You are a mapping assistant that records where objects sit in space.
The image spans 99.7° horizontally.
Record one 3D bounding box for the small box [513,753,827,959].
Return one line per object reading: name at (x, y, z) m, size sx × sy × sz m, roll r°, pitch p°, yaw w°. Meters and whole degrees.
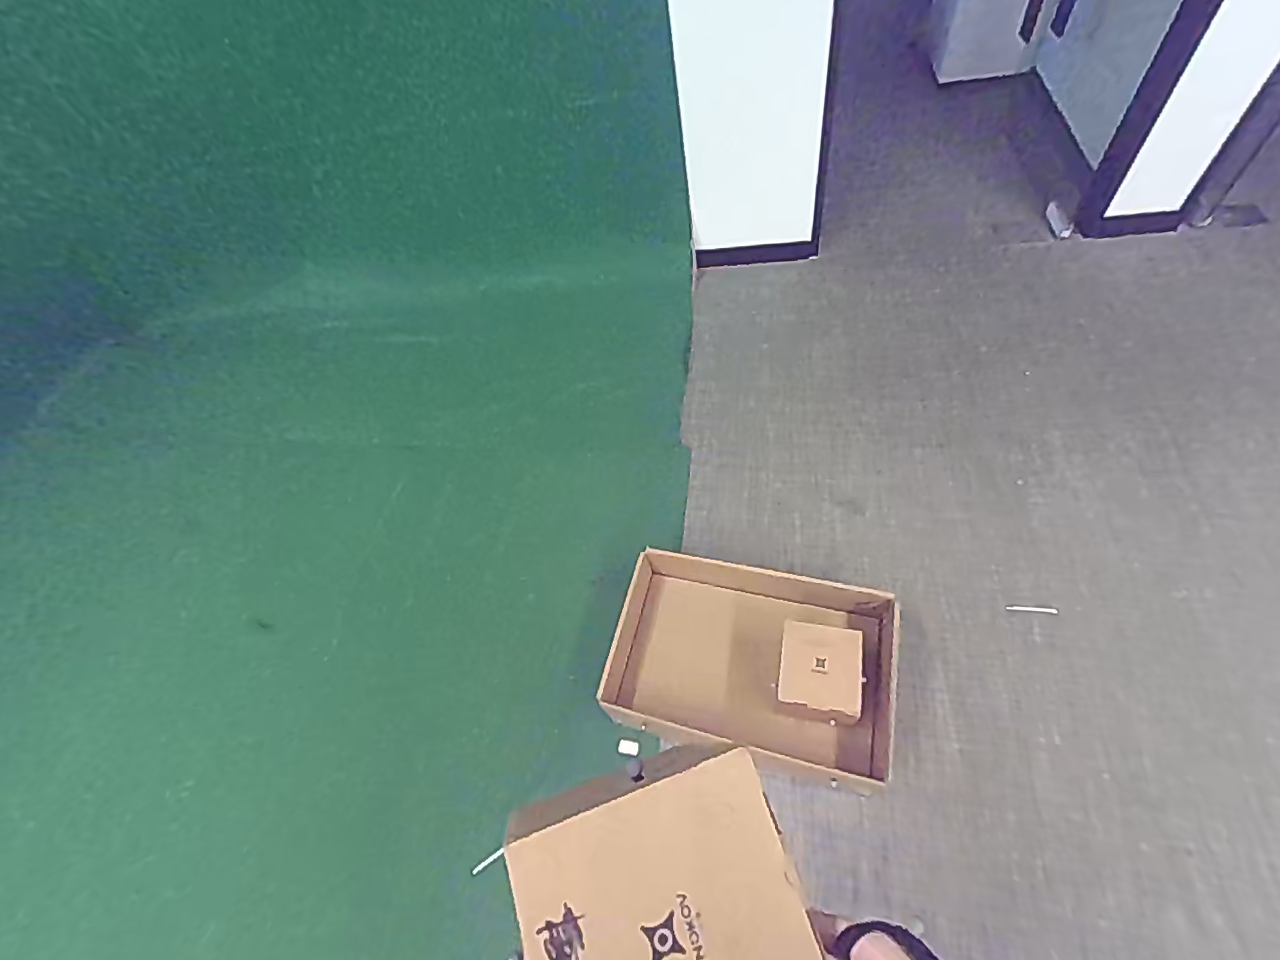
small box at (0.008, 0.315, 0.401) m, size 0.179 × 0.176 × 0.168 m, roll -12°, pitch 67°, yaw -18°
